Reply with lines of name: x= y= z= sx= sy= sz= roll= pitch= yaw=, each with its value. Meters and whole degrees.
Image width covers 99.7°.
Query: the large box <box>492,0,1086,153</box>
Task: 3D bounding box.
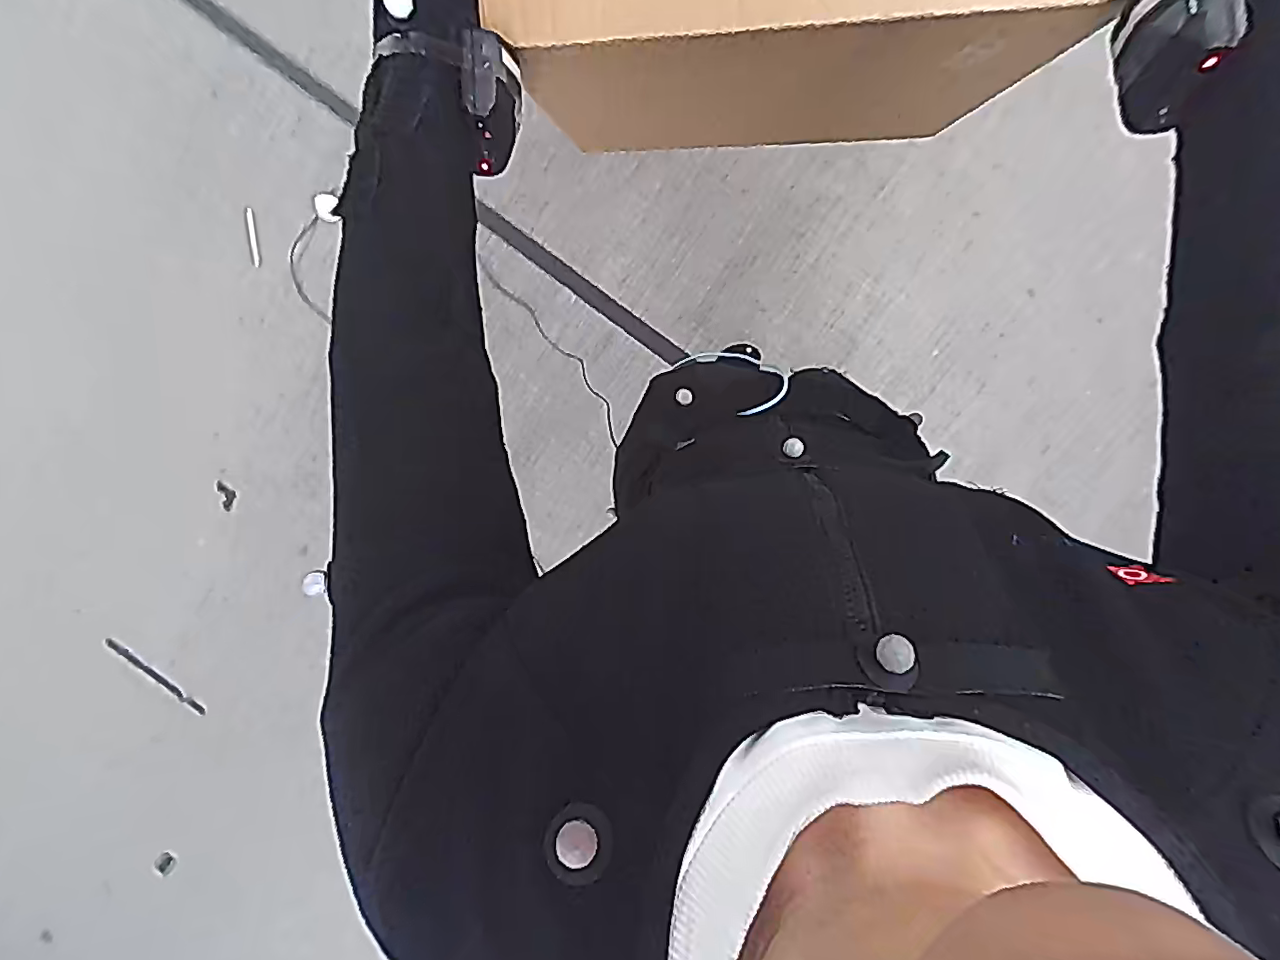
large box: x=0.102 y=-0.488 z=0.436 sx=0.408 sy=0.320 sz=0.320 roll=-1 pitch=110 yaw=5
